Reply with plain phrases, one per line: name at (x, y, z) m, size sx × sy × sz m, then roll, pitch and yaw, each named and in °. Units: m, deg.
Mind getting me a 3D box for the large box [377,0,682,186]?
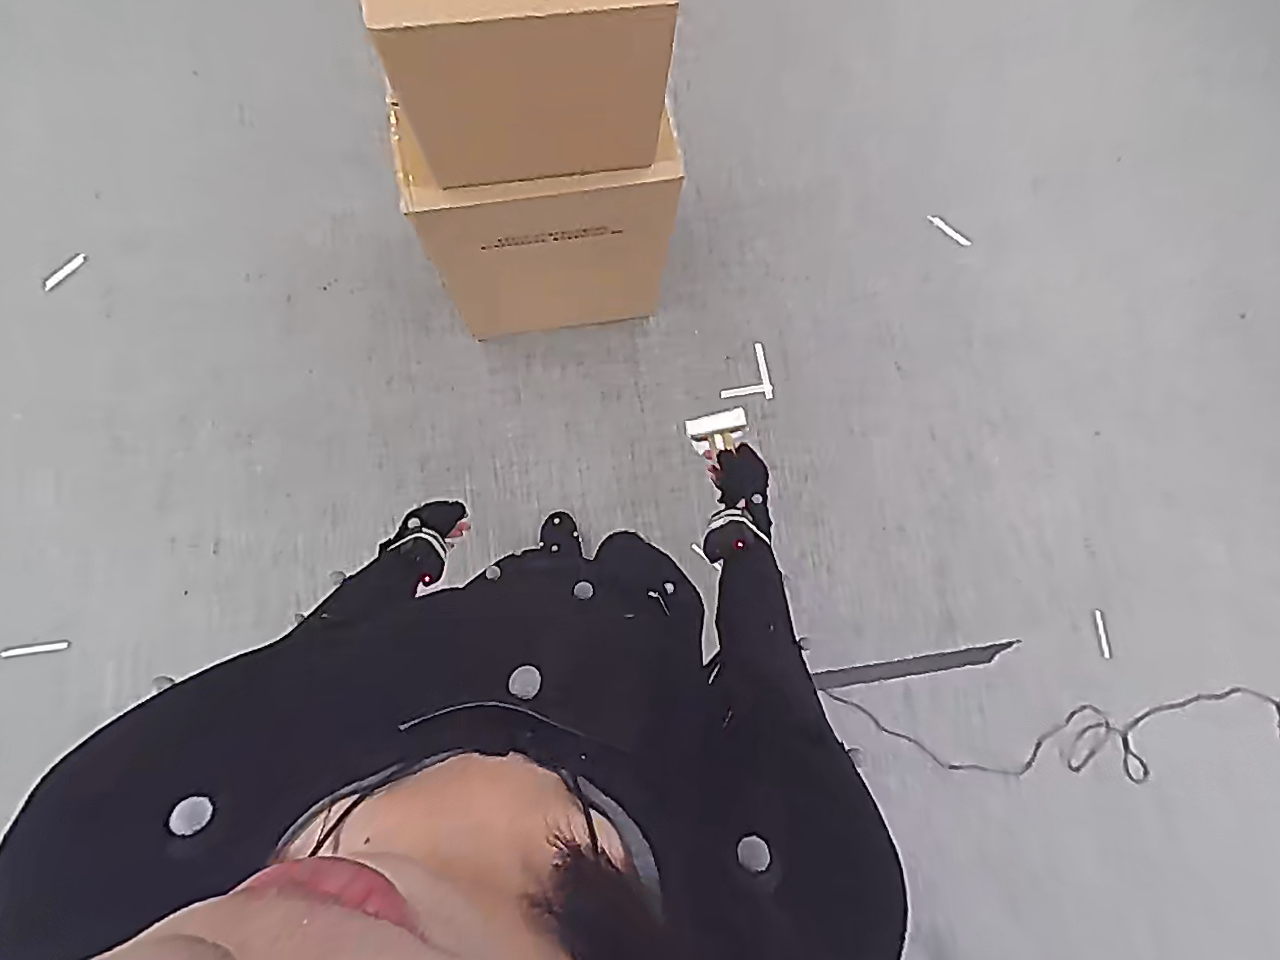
large box at (-0.179, -0.730, 0.869) m, size 0.408 × 0.320 × 0.320 m, roll -10°, pitch 85°, yaw -7°
